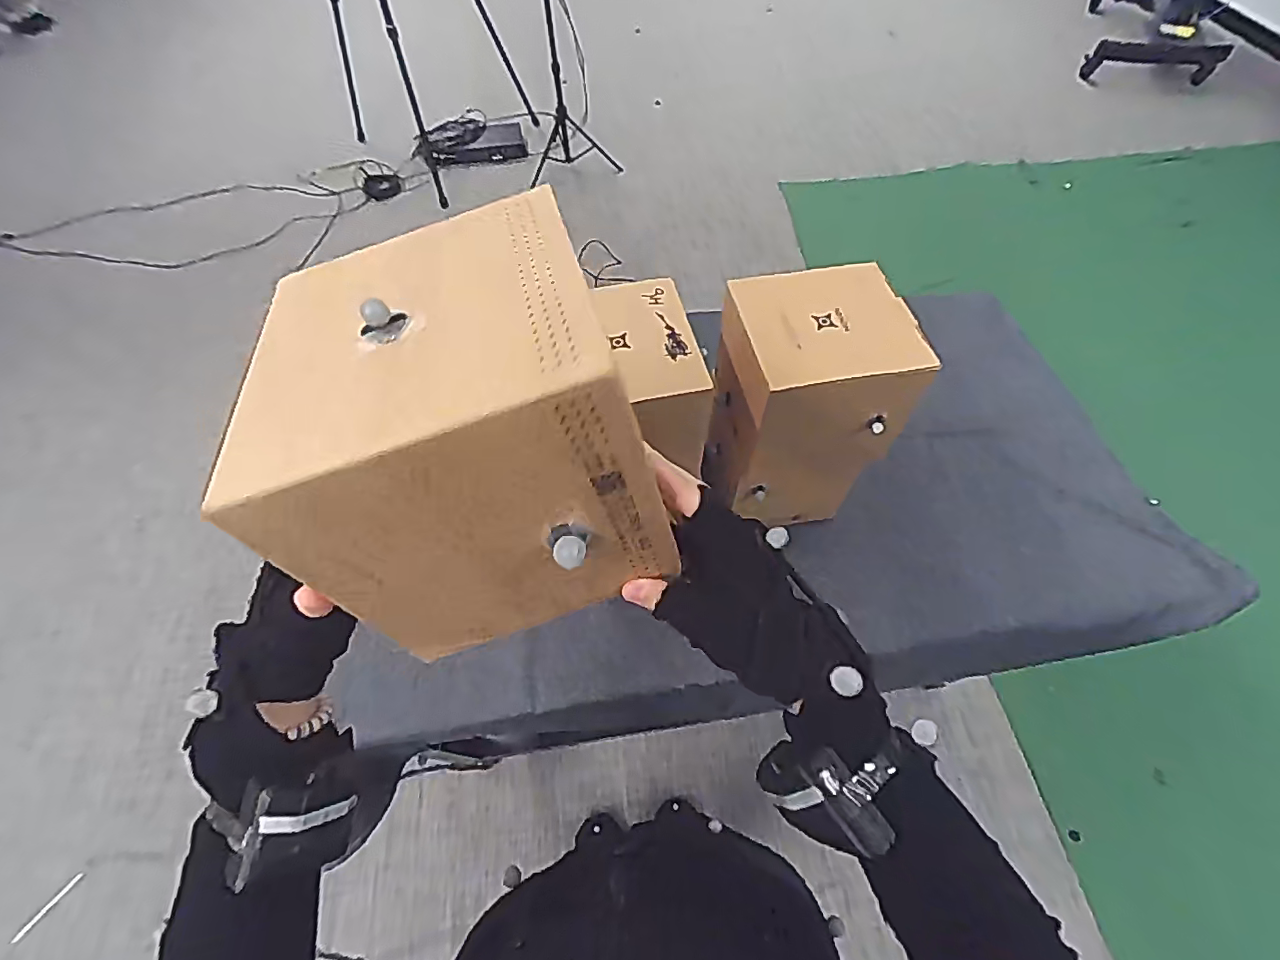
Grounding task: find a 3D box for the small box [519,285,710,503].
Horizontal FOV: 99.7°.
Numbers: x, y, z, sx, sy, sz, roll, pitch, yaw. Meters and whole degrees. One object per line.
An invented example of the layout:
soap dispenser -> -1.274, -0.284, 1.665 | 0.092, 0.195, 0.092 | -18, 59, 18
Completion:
small box -> -0.028, -0.091, 0.625 | 0.179, 0.176, 0.168 | -12, 60, -5
